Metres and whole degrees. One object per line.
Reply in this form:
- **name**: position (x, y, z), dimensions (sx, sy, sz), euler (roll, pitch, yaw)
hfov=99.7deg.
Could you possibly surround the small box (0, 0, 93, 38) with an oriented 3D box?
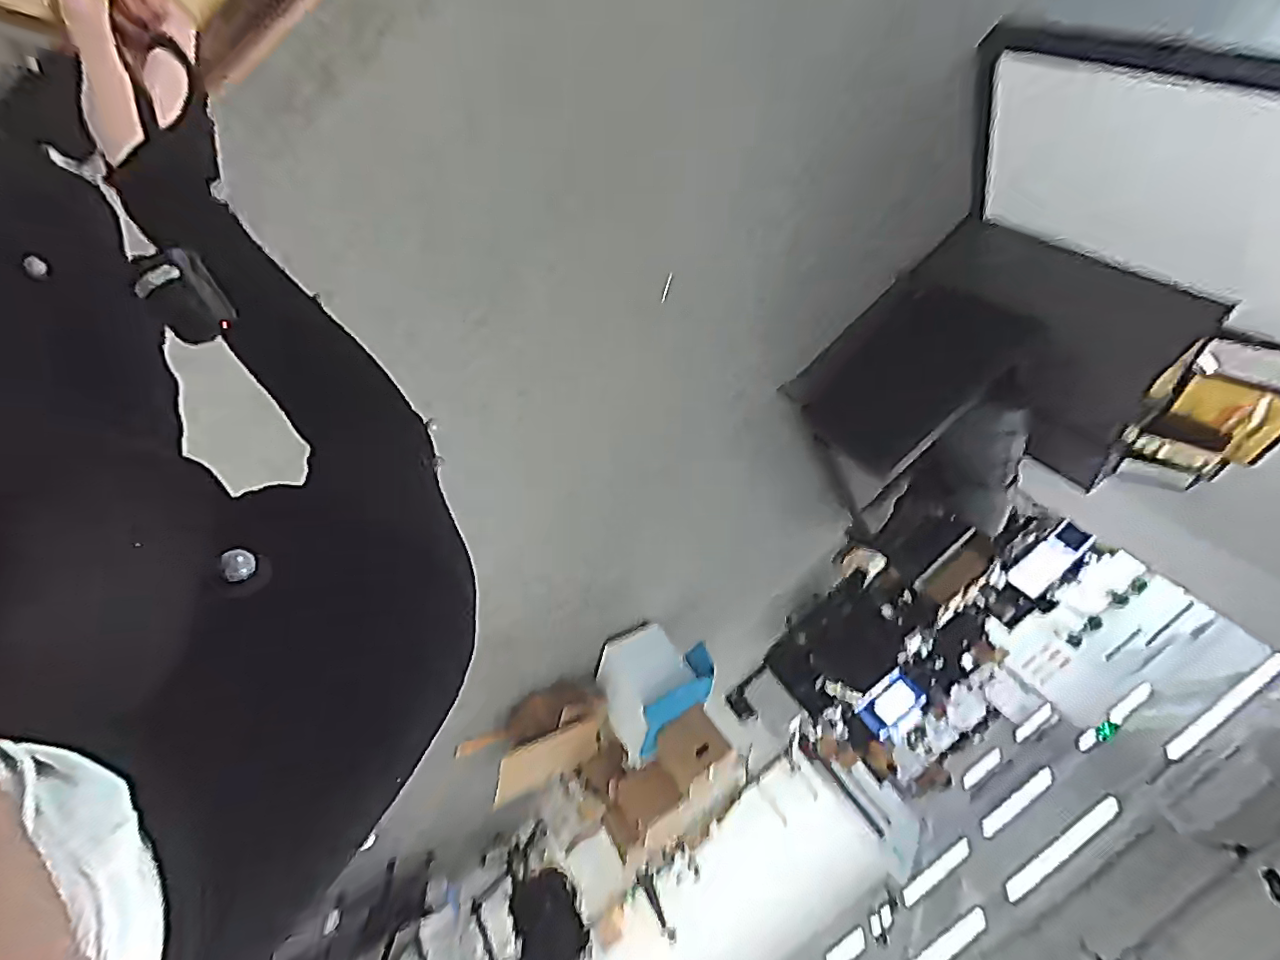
- **small box**: position (-0.462, -0.396, 0.315), dimensions (0.179, 0.176, 0.168), euler (-10, 122, -48)
